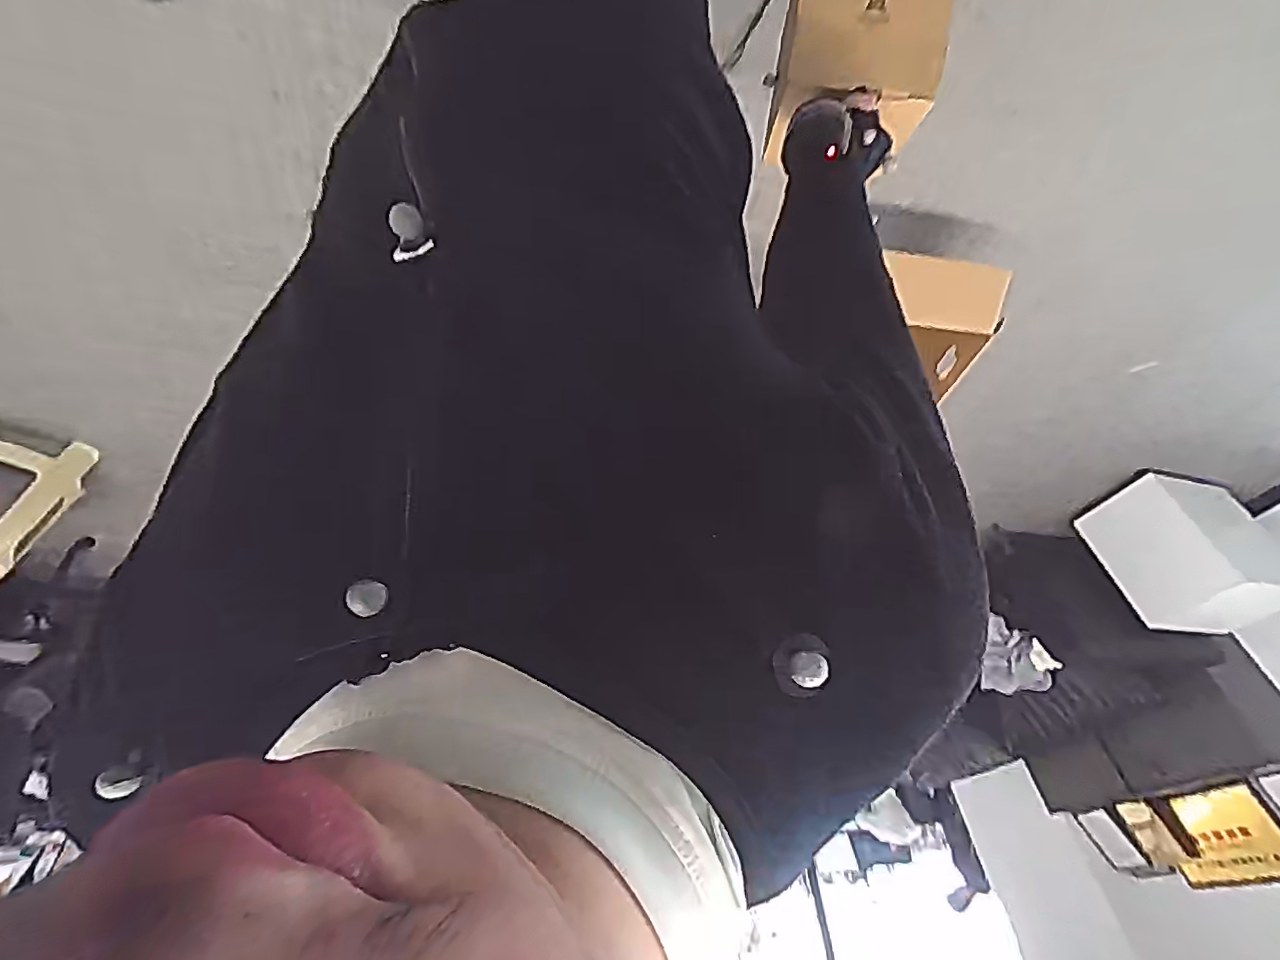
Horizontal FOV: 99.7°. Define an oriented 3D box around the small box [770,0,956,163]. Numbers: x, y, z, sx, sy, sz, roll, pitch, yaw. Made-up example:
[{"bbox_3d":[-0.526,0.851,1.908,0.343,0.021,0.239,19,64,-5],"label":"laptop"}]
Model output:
[{"bbox_3d":[0.262,-0.519,0.661,0.168,0.176,0.179,8,96,4],"label":"small box"}]
